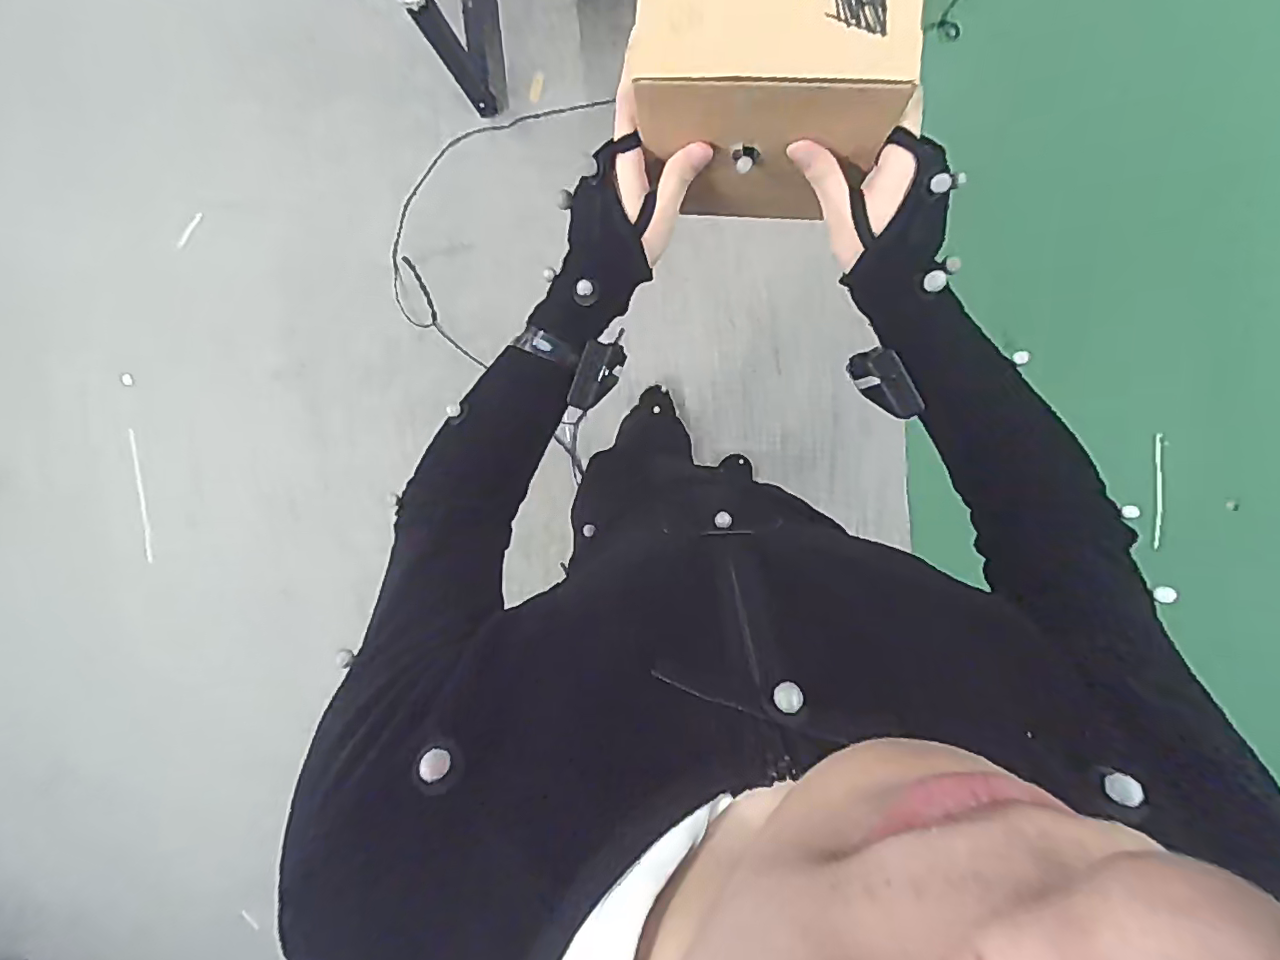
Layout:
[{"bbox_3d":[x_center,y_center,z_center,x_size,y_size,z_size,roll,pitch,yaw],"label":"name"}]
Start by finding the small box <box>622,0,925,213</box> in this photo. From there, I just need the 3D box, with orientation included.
[{"bbox_3d":[0.091,-0.320,0.402,0.179,0.176,0.168,5,89,7],"label":"small box"}]
